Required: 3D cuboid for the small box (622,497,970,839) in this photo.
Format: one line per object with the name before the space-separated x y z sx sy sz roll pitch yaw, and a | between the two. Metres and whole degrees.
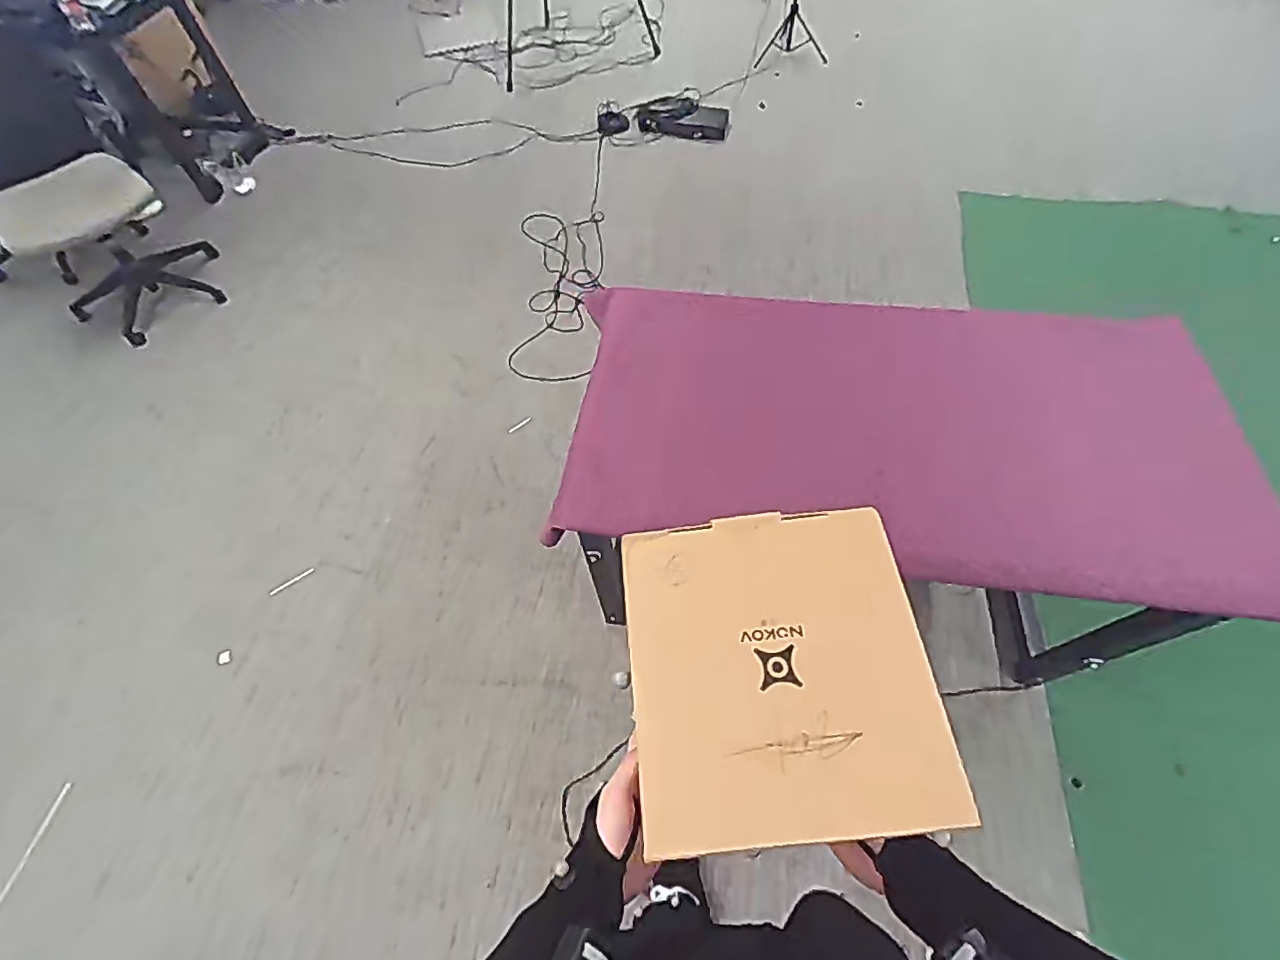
small box | 0.079 0.131 0.372 0.168 0.176 0.179 -6 62 2
